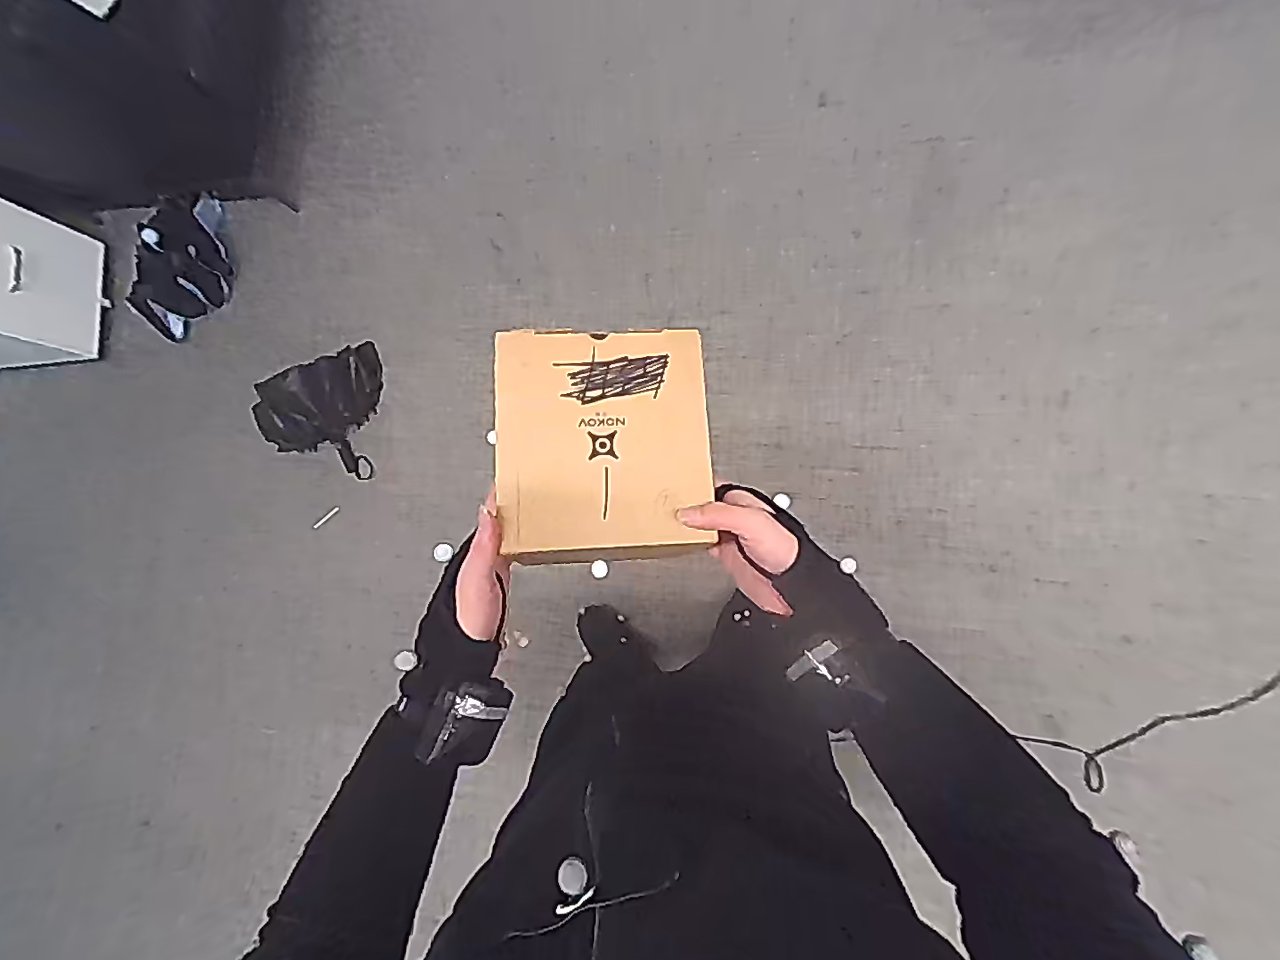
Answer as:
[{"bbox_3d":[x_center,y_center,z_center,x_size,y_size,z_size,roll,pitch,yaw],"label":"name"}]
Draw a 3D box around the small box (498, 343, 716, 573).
[{"bbox_3d":[-0.033,-0.009,0.497,0.168,0.176,0.179,-3,79,-4],"label":"small box"}]
